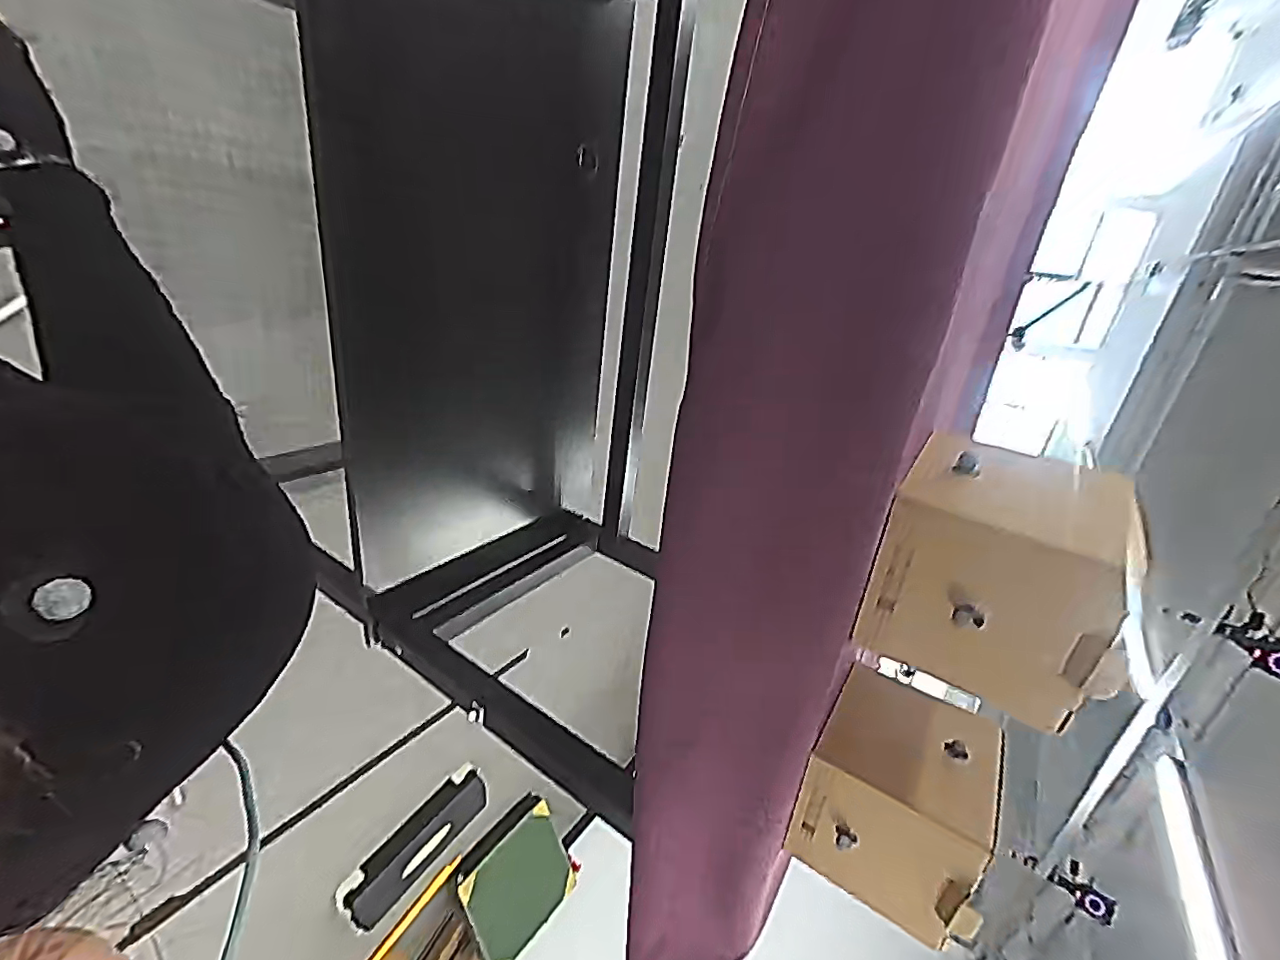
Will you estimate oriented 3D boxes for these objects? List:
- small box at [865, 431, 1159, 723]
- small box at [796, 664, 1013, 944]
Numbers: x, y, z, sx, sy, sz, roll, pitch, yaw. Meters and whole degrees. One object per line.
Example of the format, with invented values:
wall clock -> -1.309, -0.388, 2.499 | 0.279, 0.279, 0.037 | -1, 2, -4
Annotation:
small box -> 0.325, 0.072, 0.498 | 0.179, 0.176, 0.168 | -34, 135, -46
small box -> 0.297, 0.345, 0.615 | 0.179, 0.176, 0.168 | -29, 130, -50
